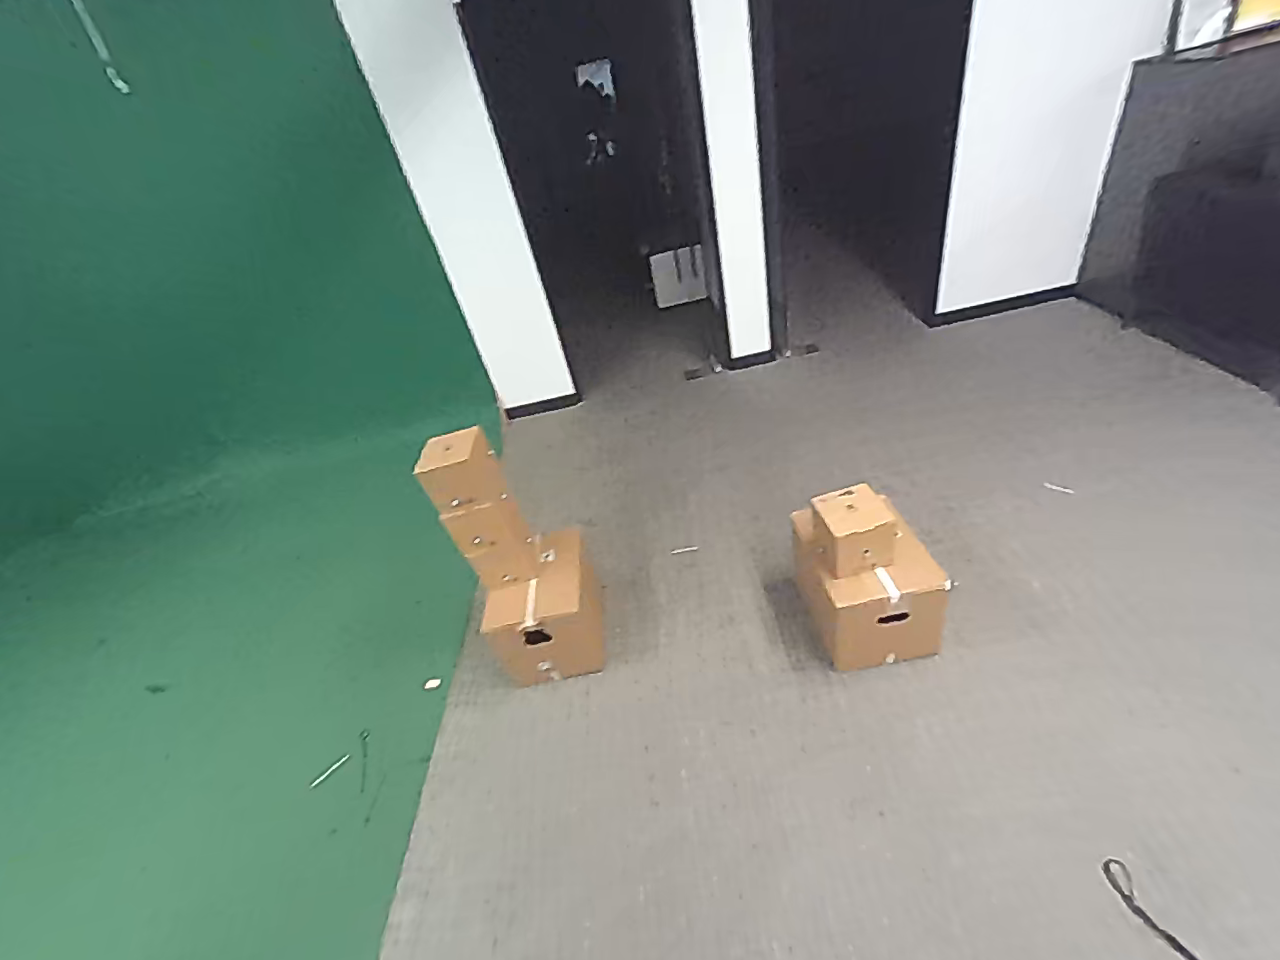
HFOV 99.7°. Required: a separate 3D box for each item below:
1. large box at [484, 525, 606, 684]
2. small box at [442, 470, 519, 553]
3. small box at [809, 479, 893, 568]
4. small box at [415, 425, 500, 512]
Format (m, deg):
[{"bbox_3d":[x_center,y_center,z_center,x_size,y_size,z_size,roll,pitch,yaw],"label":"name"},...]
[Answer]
[{"bbox_3d":[-0.314,0.427,1.882,0.320,0.320,0.408,-13,36,4],"label":"large box"},{"bbox_3d":[-0.491,0.097,1.692,0.168,0.176,0.179,-16,37,5],"label":"small box"},{"bbox_3d":[0.597,0.131,1.535,0.168,0.176,0.179,-16,37,2],"label":"small box"},{"bbox_3d":[-0.530,-0.032,1.600,0.168,0.176,0.179,-15,38,7],"label":"small box"}]
